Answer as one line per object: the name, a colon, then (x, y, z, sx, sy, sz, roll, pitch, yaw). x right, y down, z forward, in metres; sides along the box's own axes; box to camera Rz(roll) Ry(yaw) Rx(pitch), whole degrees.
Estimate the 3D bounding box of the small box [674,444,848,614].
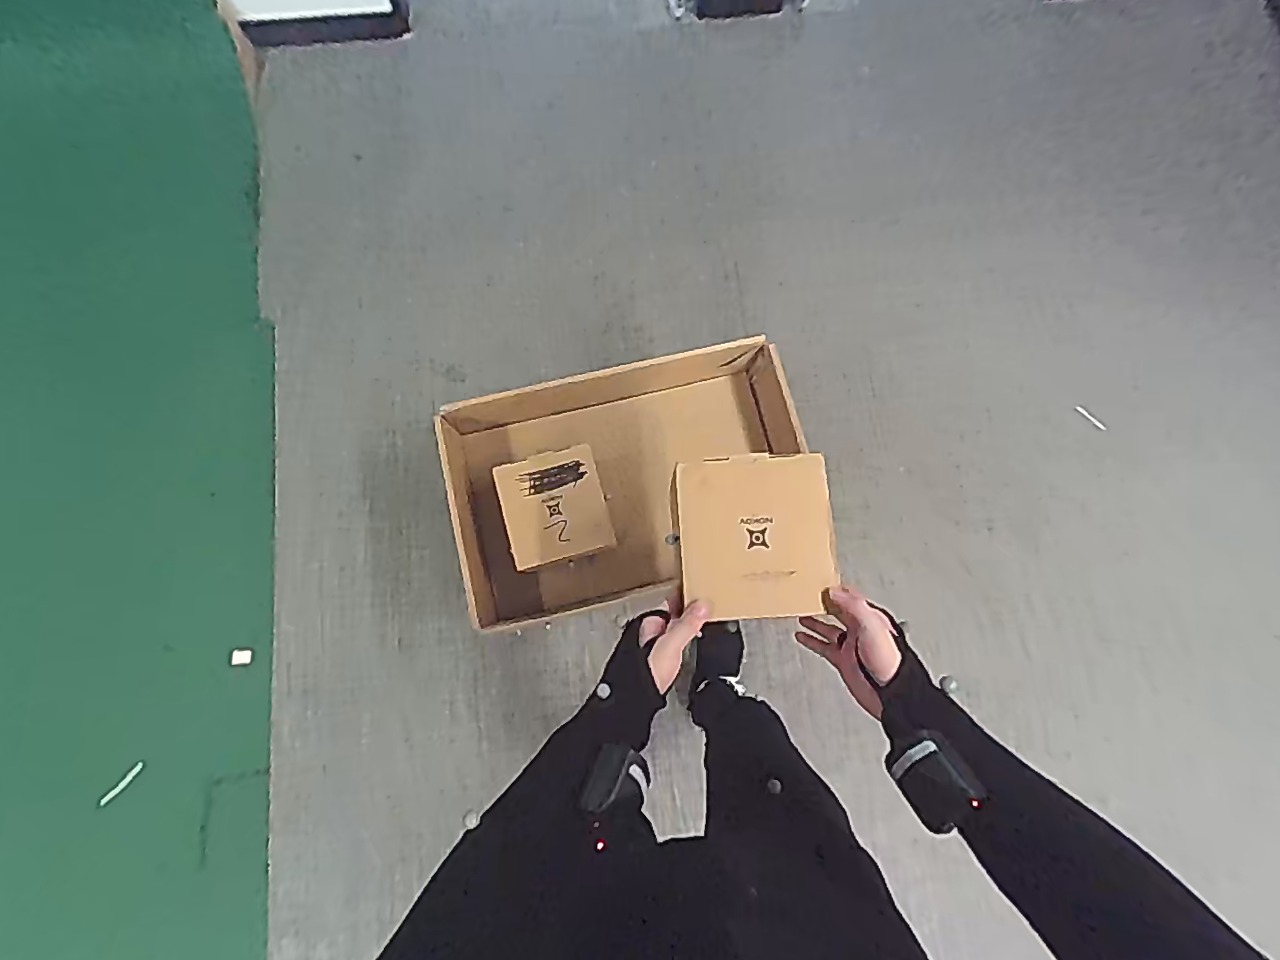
small box: (0.129, 0.067, 0.646, 0.168, 0.176, 0.179, -3, 77, 2)
